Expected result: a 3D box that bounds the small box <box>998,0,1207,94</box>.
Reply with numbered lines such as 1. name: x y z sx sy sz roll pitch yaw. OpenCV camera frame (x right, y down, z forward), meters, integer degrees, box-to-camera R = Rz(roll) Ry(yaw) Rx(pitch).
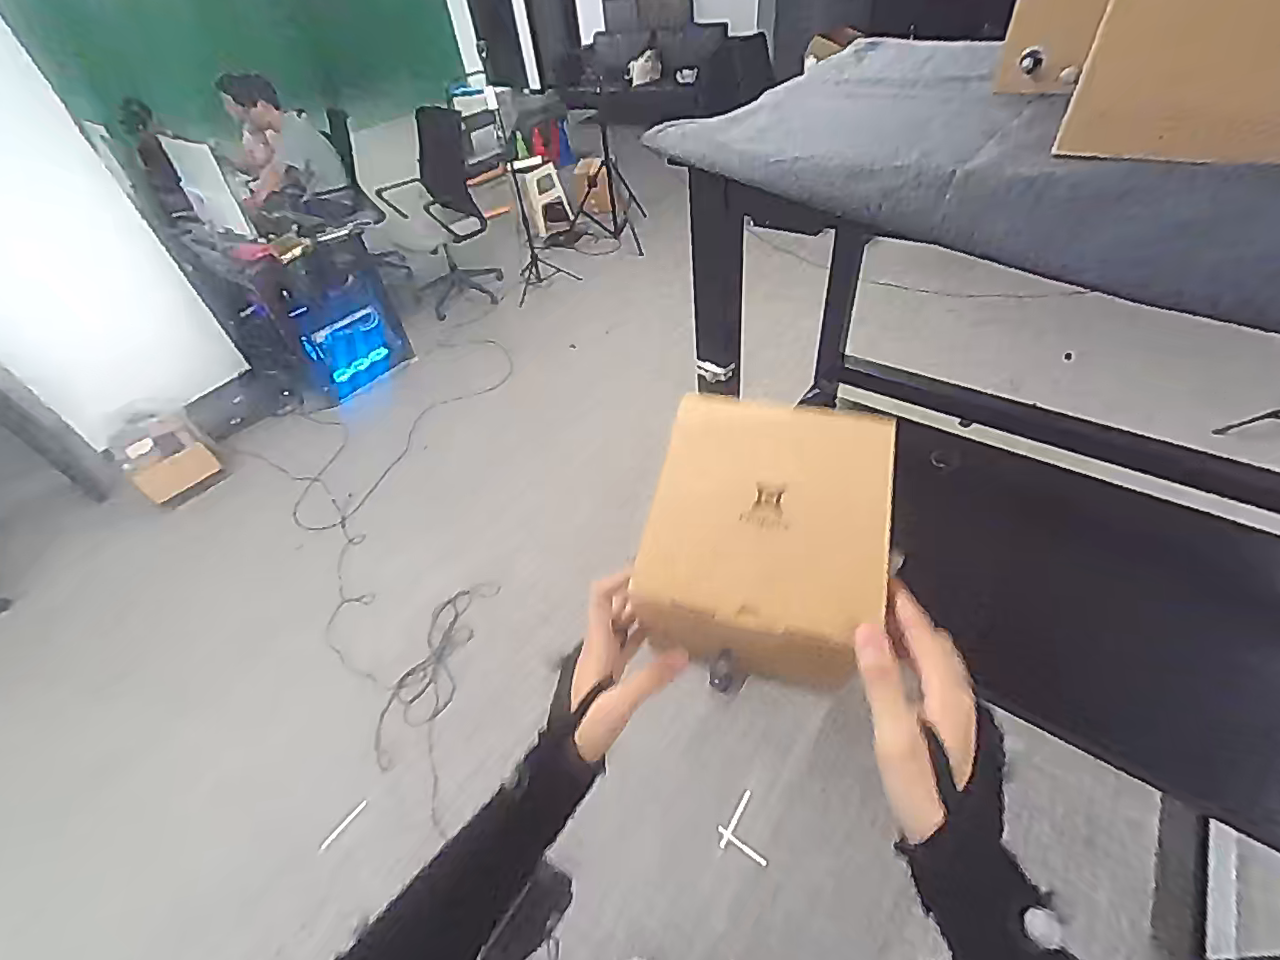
1. small box: 0.528 -0.544 0.597 0.168 0.176 0.179 26 54 29
